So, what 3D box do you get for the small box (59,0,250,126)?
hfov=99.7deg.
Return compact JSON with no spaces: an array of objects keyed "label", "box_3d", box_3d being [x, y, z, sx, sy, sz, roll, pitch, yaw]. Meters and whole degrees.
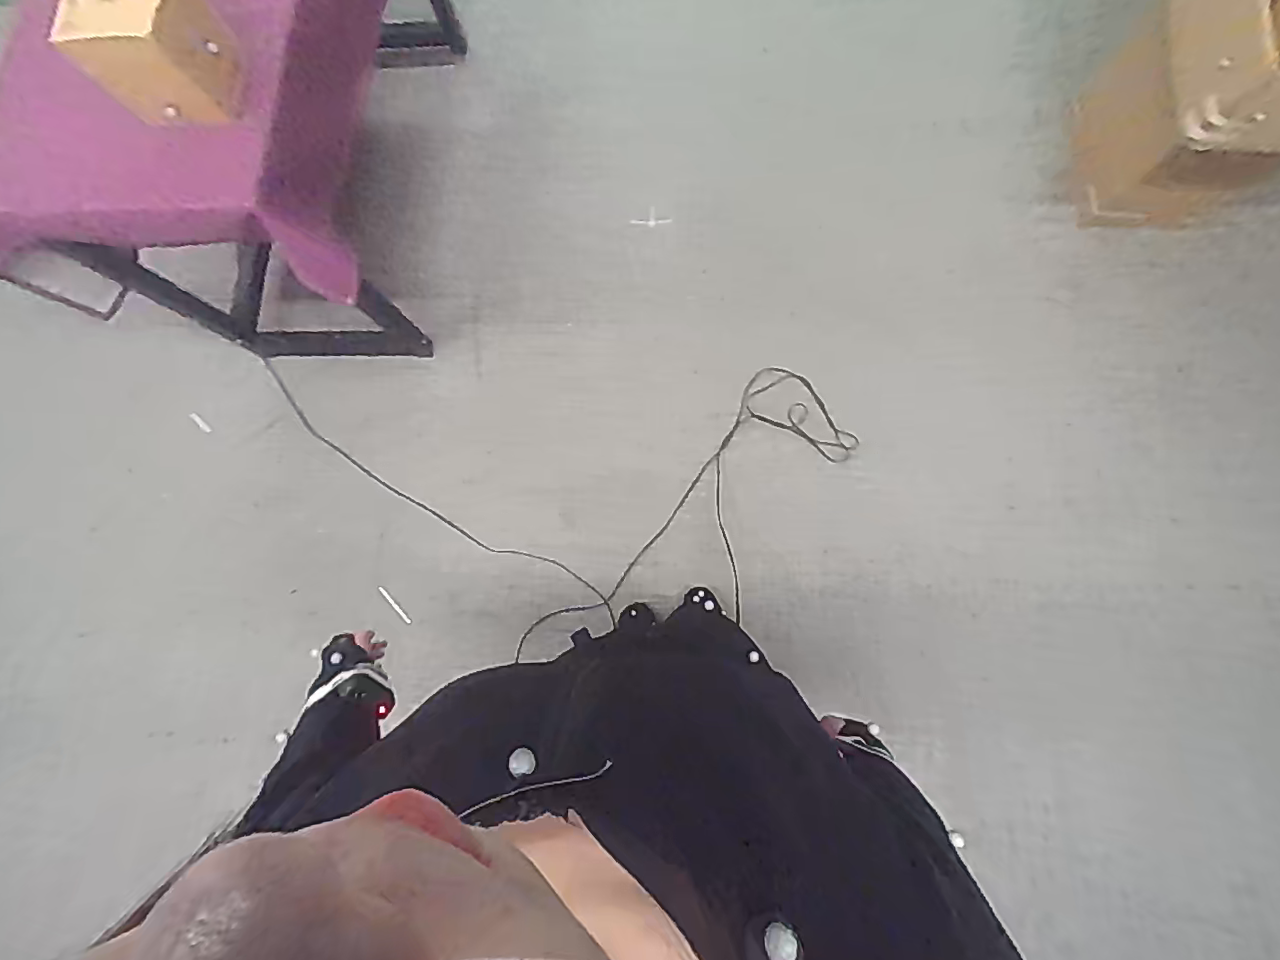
[{"label":"small box","box_3d":[-0.839,-0.760,0.954,0.179,0.176,0.168,1,79,5]}]
